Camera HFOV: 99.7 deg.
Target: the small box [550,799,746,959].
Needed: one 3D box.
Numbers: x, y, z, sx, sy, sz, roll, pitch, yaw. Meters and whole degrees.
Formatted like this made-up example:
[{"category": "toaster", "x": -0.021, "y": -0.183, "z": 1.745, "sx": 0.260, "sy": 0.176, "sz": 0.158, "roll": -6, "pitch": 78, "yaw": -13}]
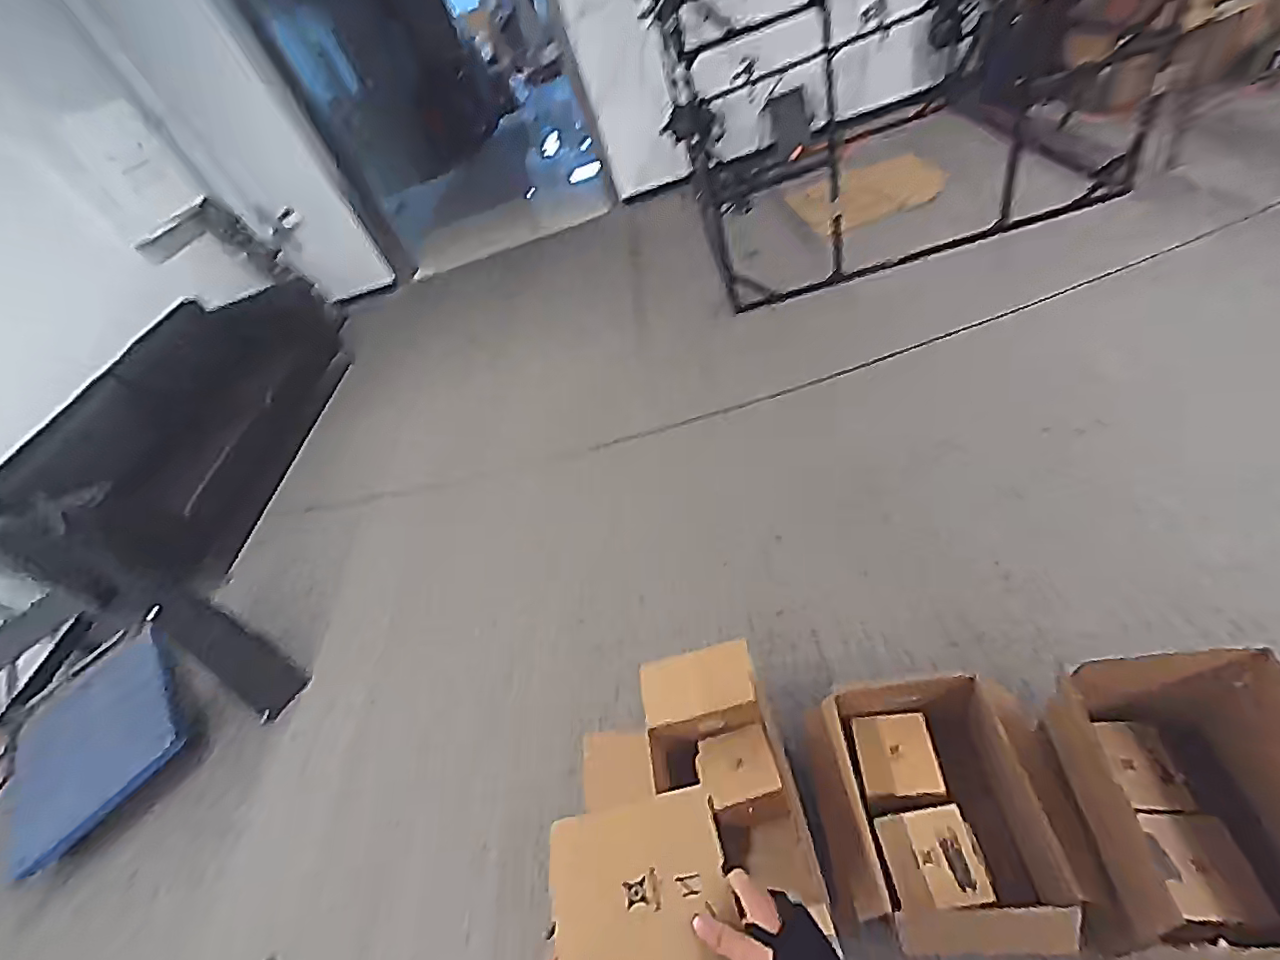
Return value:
[{"category": "small box", "x": -0.005, "y": 0.477, "z": 0.585, "sx": 0.179, "sy": 0.176, "sz": 0.168, "roll": -1, "pitch": 40, "yaw": -13}]
